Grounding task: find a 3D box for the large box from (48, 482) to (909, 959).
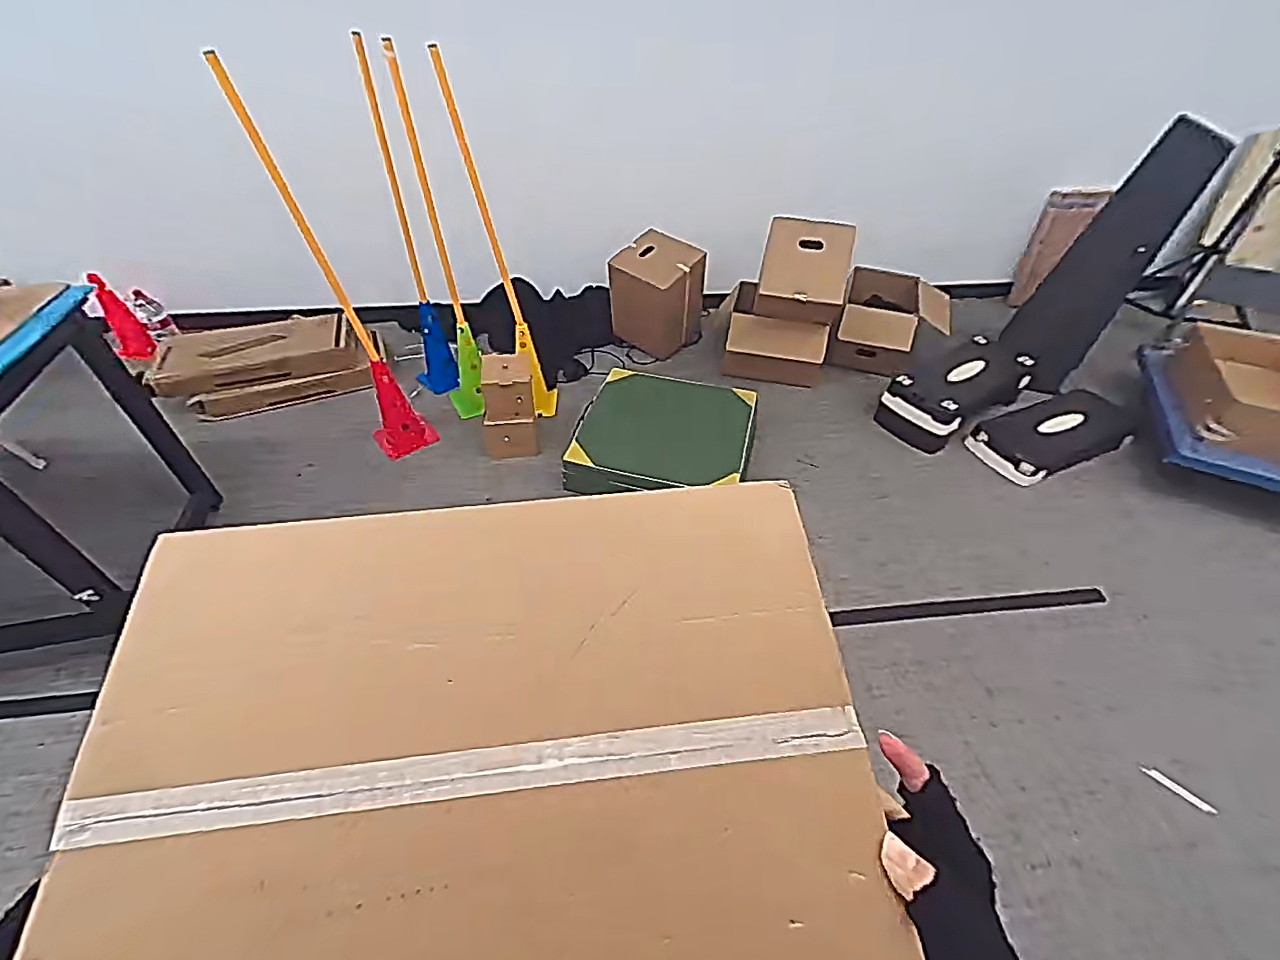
[{"bbox_3d":[-0.086,0.225,0.423,0.408,0.320,0.320,-5,62,-4],"label":"large box"}]
